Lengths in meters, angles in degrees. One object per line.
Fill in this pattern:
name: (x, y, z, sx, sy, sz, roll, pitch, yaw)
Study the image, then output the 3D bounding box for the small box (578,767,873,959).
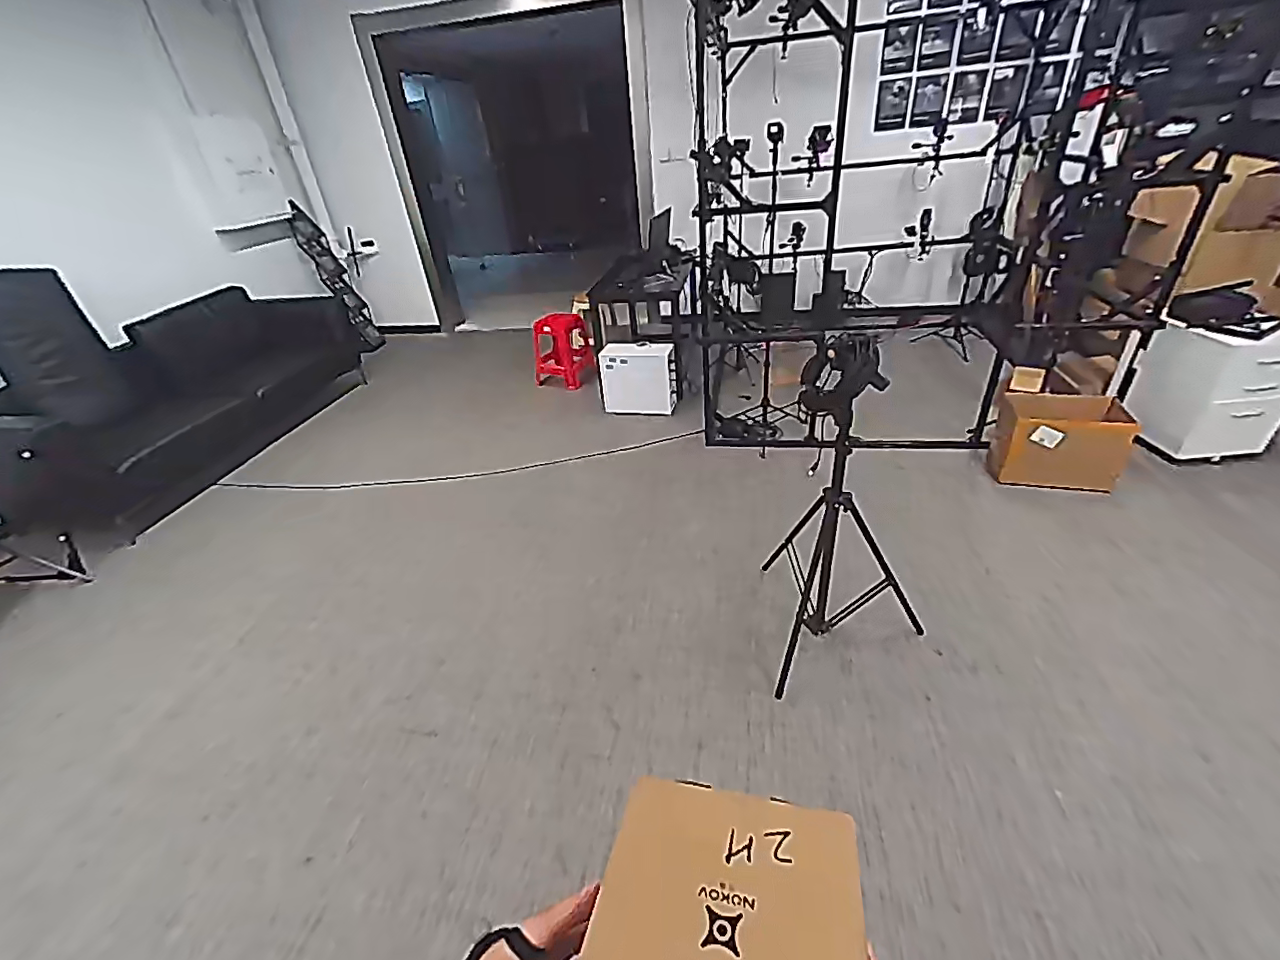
small box: (0.060, 0.339, 0.362, 0.168, 0.176, 0.179, 4, 24, 16)
